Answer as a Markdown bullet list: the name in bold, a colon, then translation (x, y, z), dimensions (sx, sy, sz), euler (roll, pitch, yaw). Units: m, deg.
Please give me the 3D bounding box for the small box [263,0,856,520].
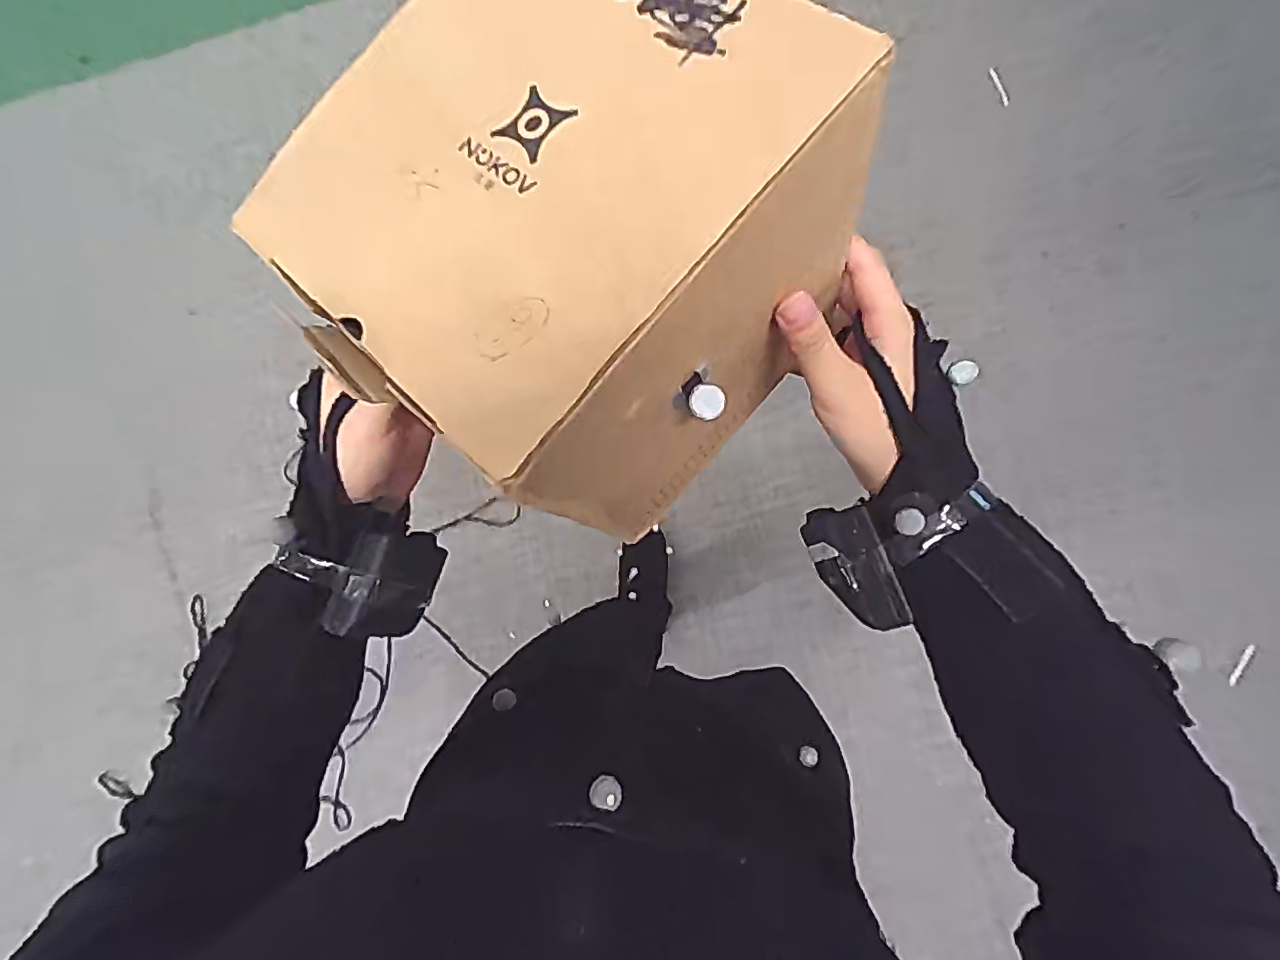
- **small box**: translation (-0.023, -0.098, 0.271), dimensions (0.168, 0.176, 0.179), euler (41, 90, 18)
